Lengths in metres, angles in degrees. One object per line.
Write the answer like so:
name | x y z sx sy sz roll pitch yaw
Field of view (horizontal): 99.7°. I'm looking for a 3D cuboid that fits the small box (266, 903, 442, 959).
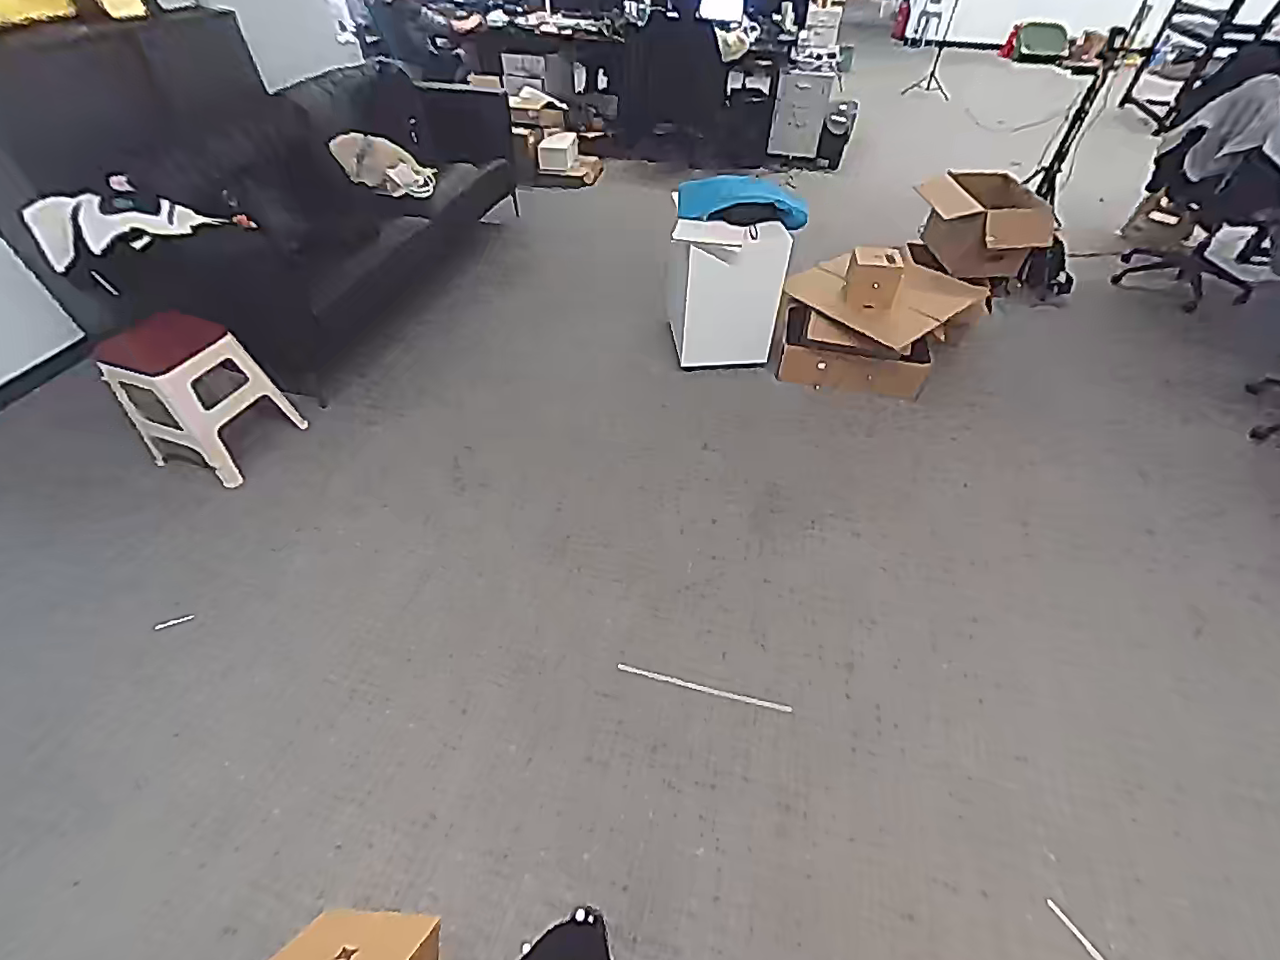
small box | -0.358 0.653 0.643 0.168 0.179 0.176 0 81 6
